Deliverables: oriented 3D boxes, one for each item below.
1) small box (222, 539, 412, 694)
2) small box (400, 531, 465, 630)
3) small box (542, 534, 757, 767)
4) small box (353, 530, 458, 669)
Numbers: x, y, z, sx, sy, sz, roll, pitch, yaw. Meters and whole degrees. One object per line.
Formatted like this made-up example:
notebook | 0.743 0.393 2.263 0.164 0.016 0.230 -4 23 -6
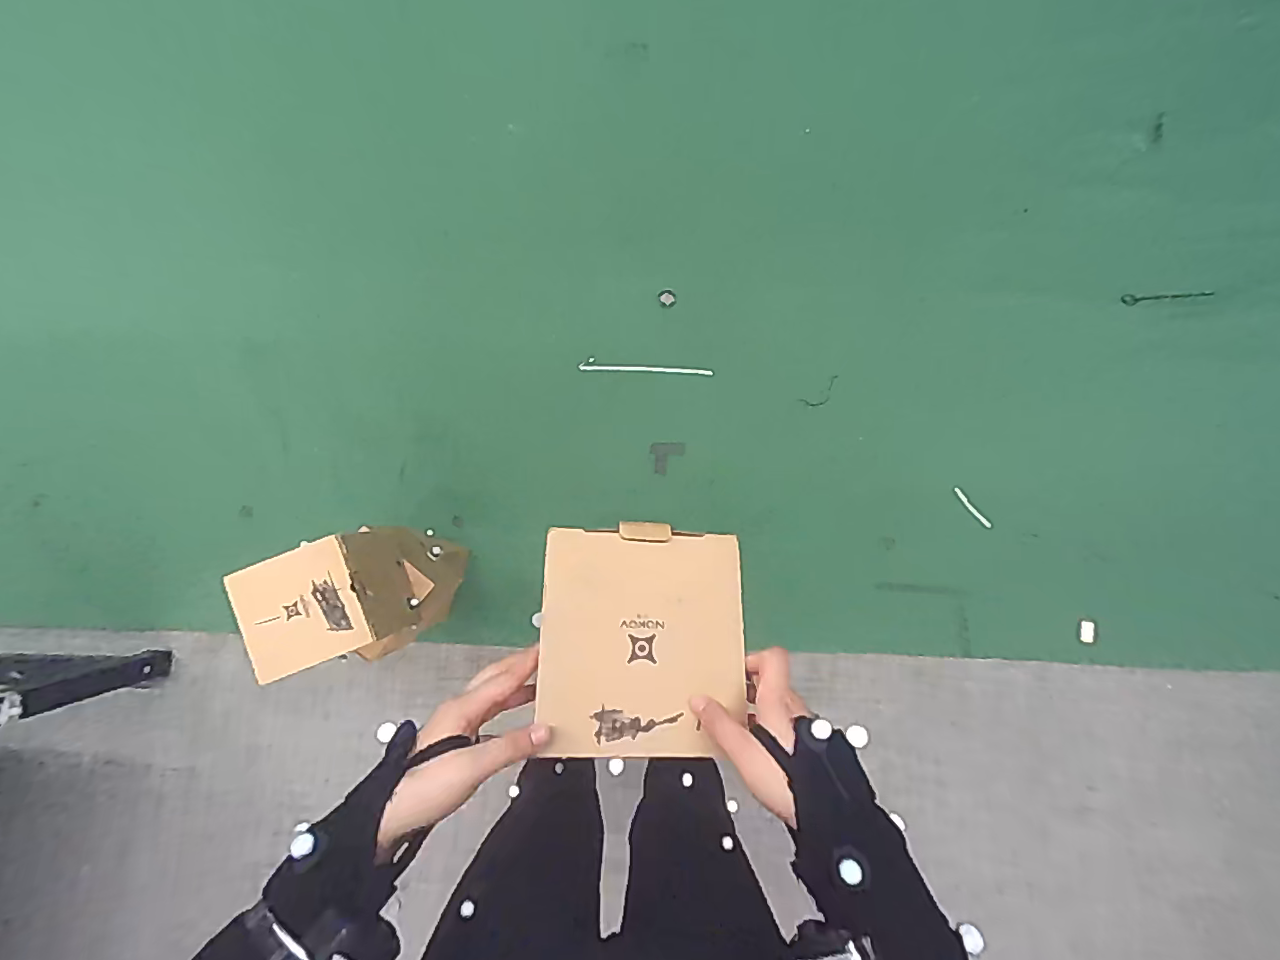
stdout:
small box | -0.476 0.195 0.832 0.179 0.176 0.168 -21 86 -1
small box | -0.497 0.217 1.158 0.168 0.176 0.179 18 85 1
small box | 0.000 0.158 0.504 0.168 0.176 0.179 3 70 -6
small box | -0.467 0.210 0.996 0.168 0.176 0.179 39 86 2
